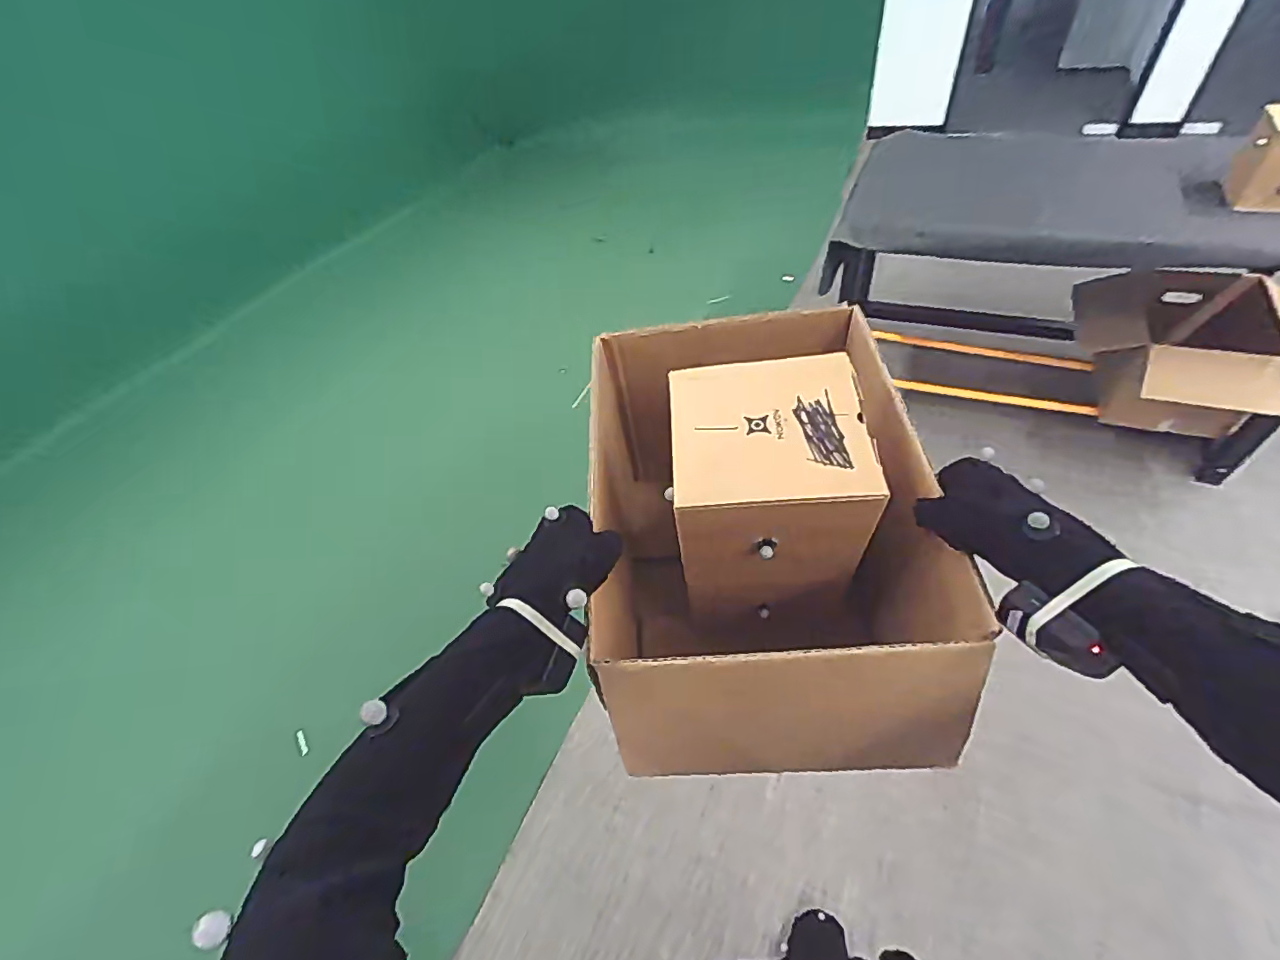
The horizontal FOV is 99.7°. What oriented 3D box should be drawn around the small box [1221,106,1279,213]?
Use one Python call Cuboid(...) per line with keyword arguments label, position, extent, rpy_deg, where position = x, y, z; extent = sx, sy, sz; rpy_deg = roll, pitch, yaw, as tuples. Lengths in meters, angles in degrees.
Cuboid(label="small box", position=(1.498, -0.735, 1.242), extent=(0.168, 0.176, 0.179), rpy_deg=(15, 54, 22))
